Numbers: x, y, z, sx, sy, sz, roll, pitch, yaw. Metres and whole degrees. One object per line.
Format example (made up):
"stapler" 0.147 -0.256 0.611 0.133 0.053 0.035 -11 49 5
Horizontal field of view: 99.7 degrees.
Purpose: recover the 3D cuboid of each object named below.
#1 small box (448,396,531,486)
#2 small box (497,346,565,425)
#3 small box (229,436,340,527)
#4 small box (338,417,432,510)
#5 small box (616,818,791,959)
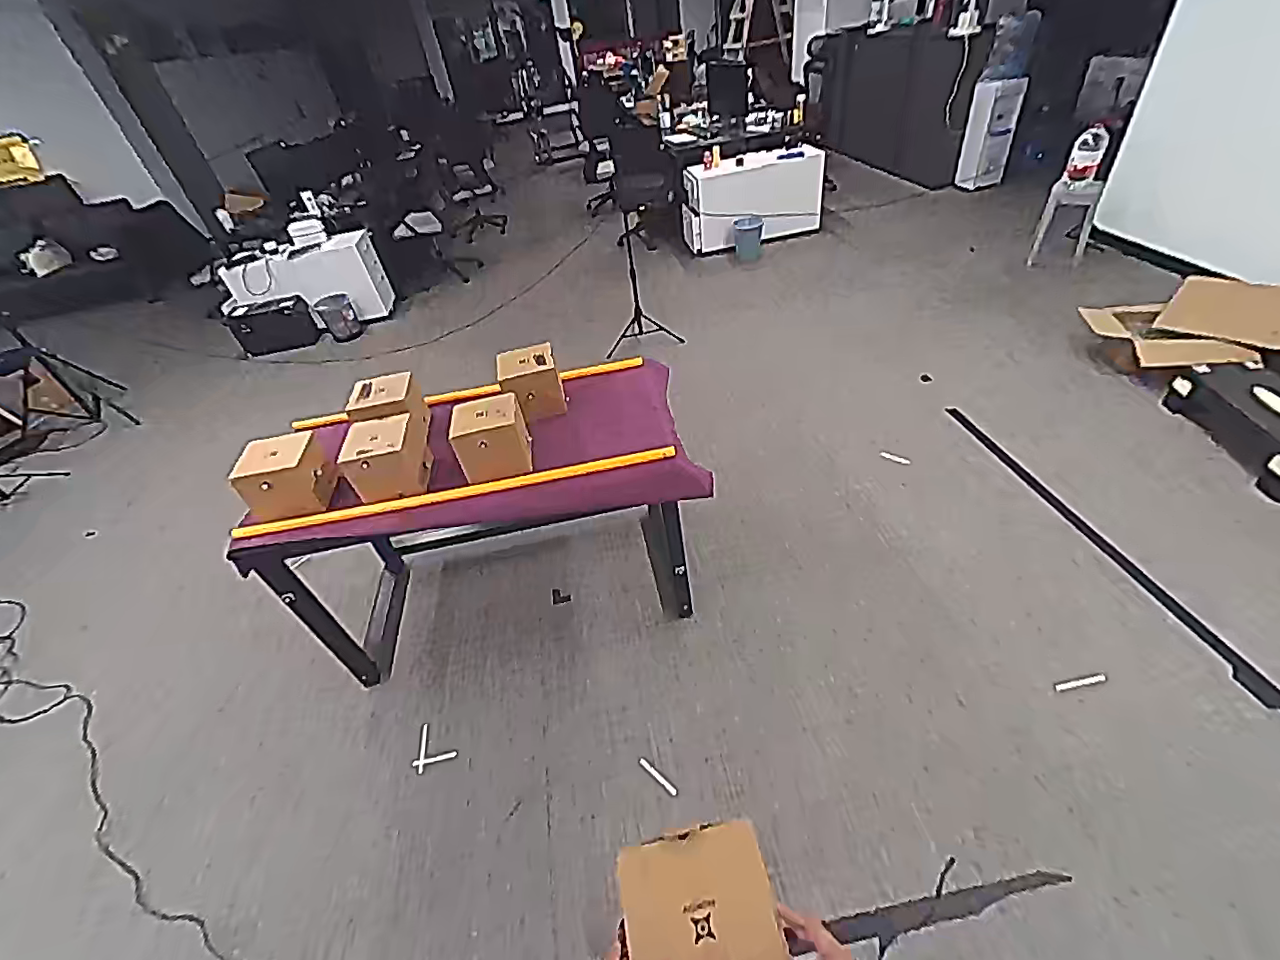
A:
"small box" -0.409 -0.104 1.495 0.179 0.176 0.168 -13 40 -3
"small box" -0.338 -0.292 1.693 0.179 0.176 0.168 -15 42 -3
"small box" -0.964 0.005 1.488 0.179 0.176 0.168 -12 40 -3
"small box" -0.689 -0.045 1.488 0.168 0.176 0.179 -13 41 -1
"small box" 0.075 0.527 0.619 0.168 0.176 0.179 -13 41 -2
